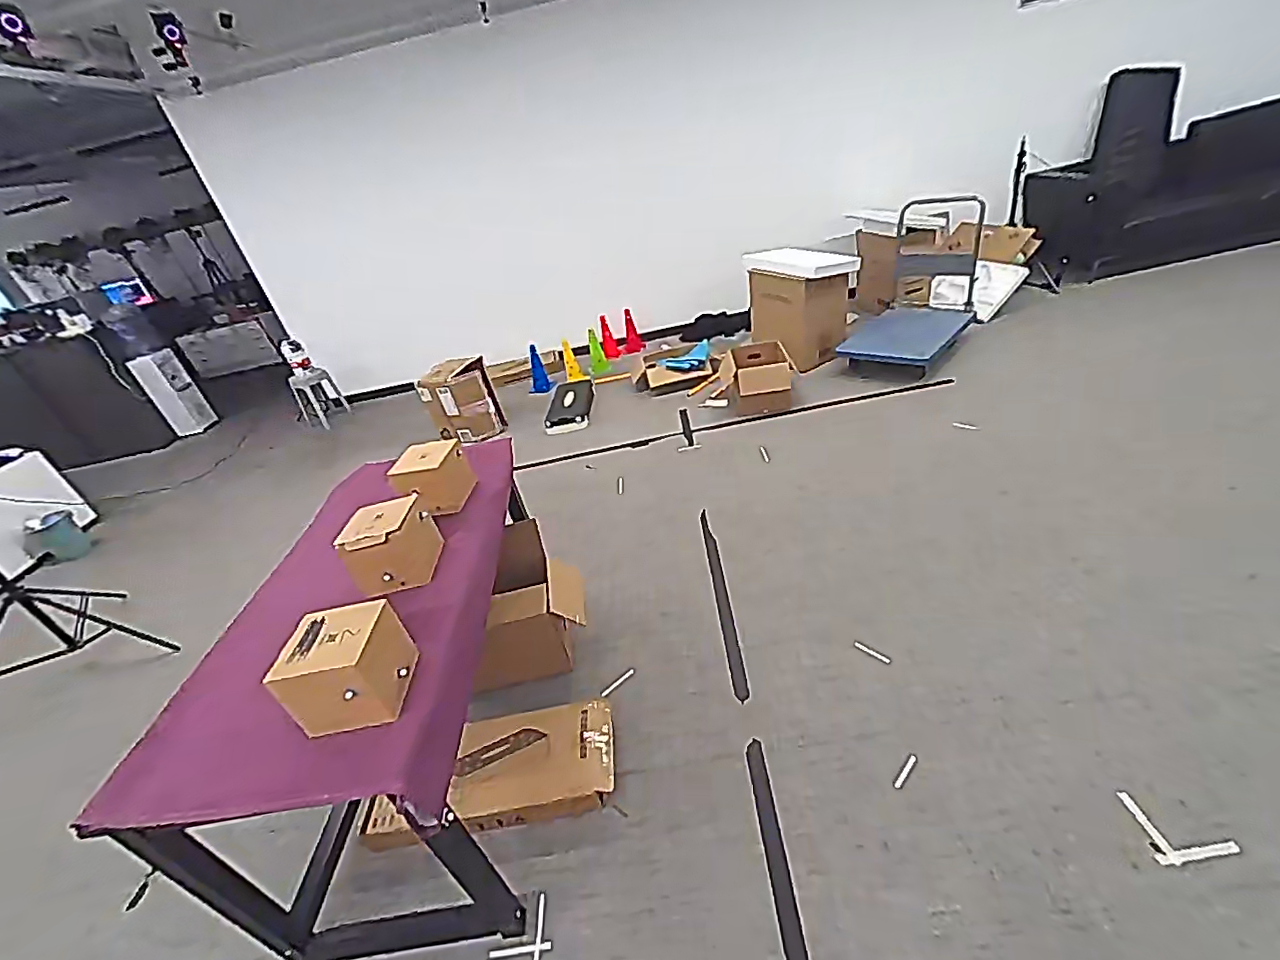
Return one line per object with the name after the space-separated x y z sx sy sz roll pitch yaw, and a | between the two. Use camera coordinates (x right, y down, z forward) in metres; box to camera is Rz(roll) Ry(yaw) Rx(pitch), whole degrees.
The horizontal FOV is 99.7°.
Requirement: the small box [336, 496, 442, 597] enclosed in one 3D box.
-0.631 0.171 1.390 0.168 0.176 0.179 -14 31 4 | small box

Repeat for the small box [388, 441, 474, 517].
-0.631 0.004 1.660 0.168 0.176 0.179 -8 31 8 | small box
